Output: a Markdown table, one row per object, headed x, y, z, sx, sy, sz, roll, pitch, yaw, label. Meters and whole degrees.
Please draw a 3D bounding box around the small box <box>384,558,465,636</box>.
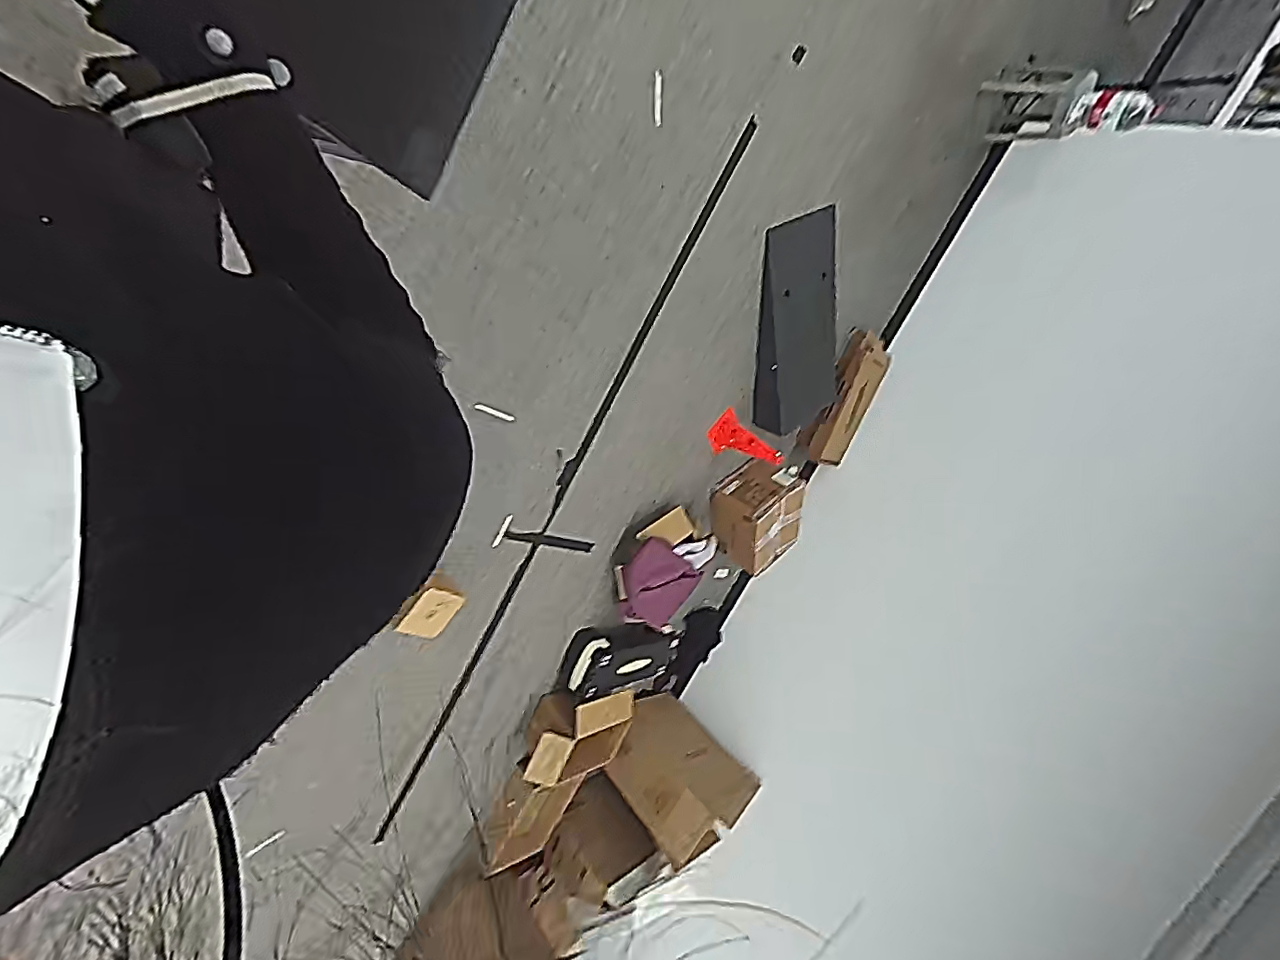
| x | y | z | sx | sy | sz | roll | pitch | yaw | label |
| --- | --- | --- | --- | --- | --- | --- | --- | --- | --- |
| -0.737 | 0.397 | 1.831 | 0.179 | 0.176 | 0.168 | -53 | 143 | -3 | small box |
